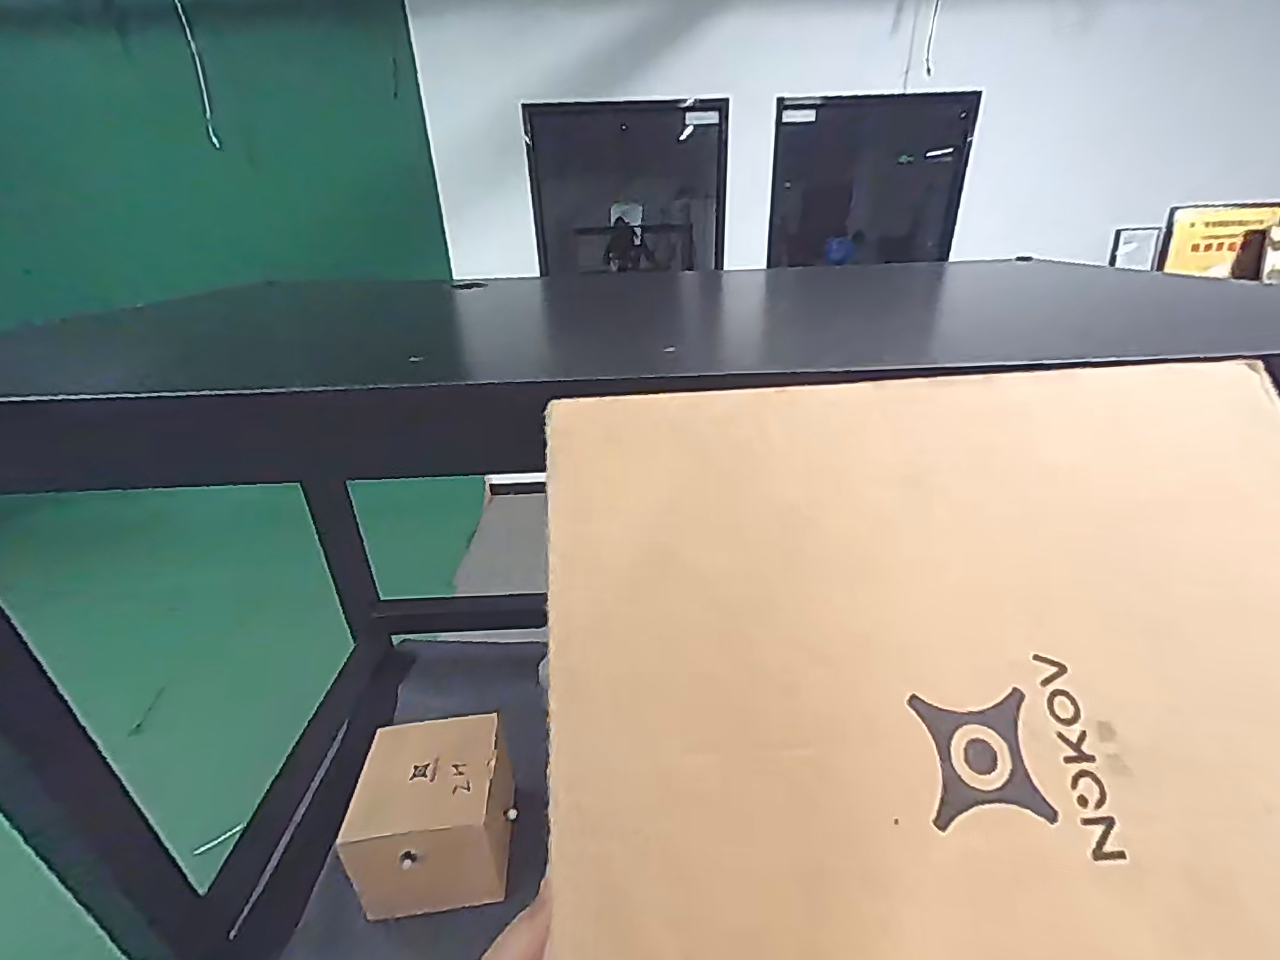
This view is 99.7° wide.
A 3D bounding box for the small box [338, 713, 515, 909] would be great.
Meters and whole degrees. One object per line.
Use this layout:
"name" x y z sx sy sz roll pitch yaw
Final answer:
"small box" -0.280 0.458 0.754 0.179 0.176 0.168 -4 26 -5
